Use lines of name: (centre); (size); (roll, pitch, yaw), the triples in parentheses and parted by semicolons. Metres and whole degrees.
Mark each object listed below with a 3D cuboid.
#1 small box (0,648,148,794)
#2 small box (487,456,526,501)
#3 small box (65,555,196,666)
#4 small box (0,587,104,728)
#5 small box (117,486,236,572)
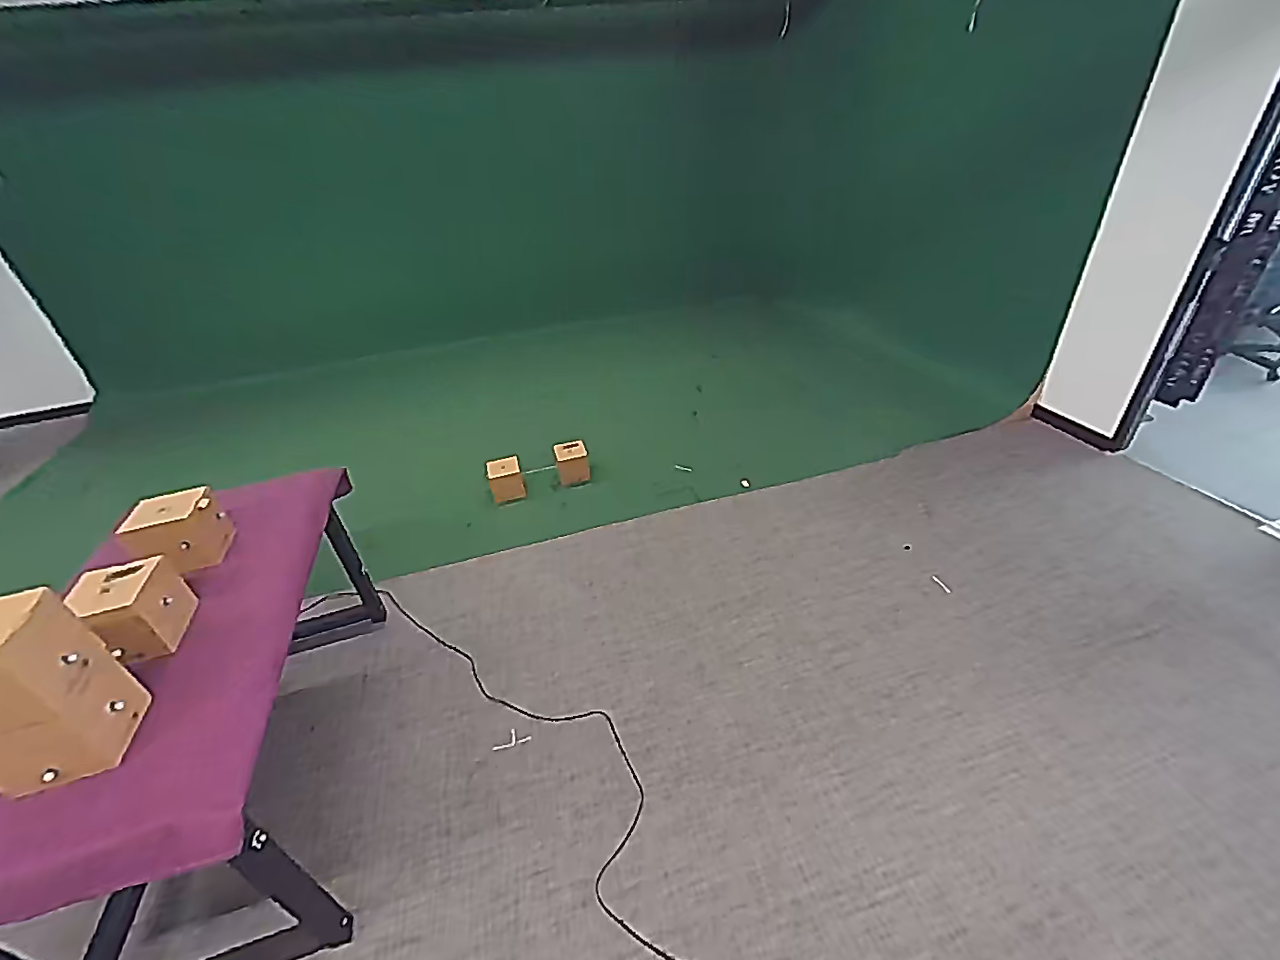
small box: (-1.112, 0.460, 1.038); (0.179, 0.176, 0.168); (-14, 34, -13)
small box: (-0.728, -0.001, 2.952); (0.168, 0.176, 0.179); (-14, 34, -11)
small box: (-1.197, 0.310, 1.272); (0.168, 0.176, 0.179); (-14, 36, -12)
small box: (-1.124, 0.323, 0.948); (0.179, 0.176, 0.168); (-14, 35, -13)
small box: (-1.294, 0.146, 1.530); (0.179, 0.176, 0.168); (-14, 35, -11)
